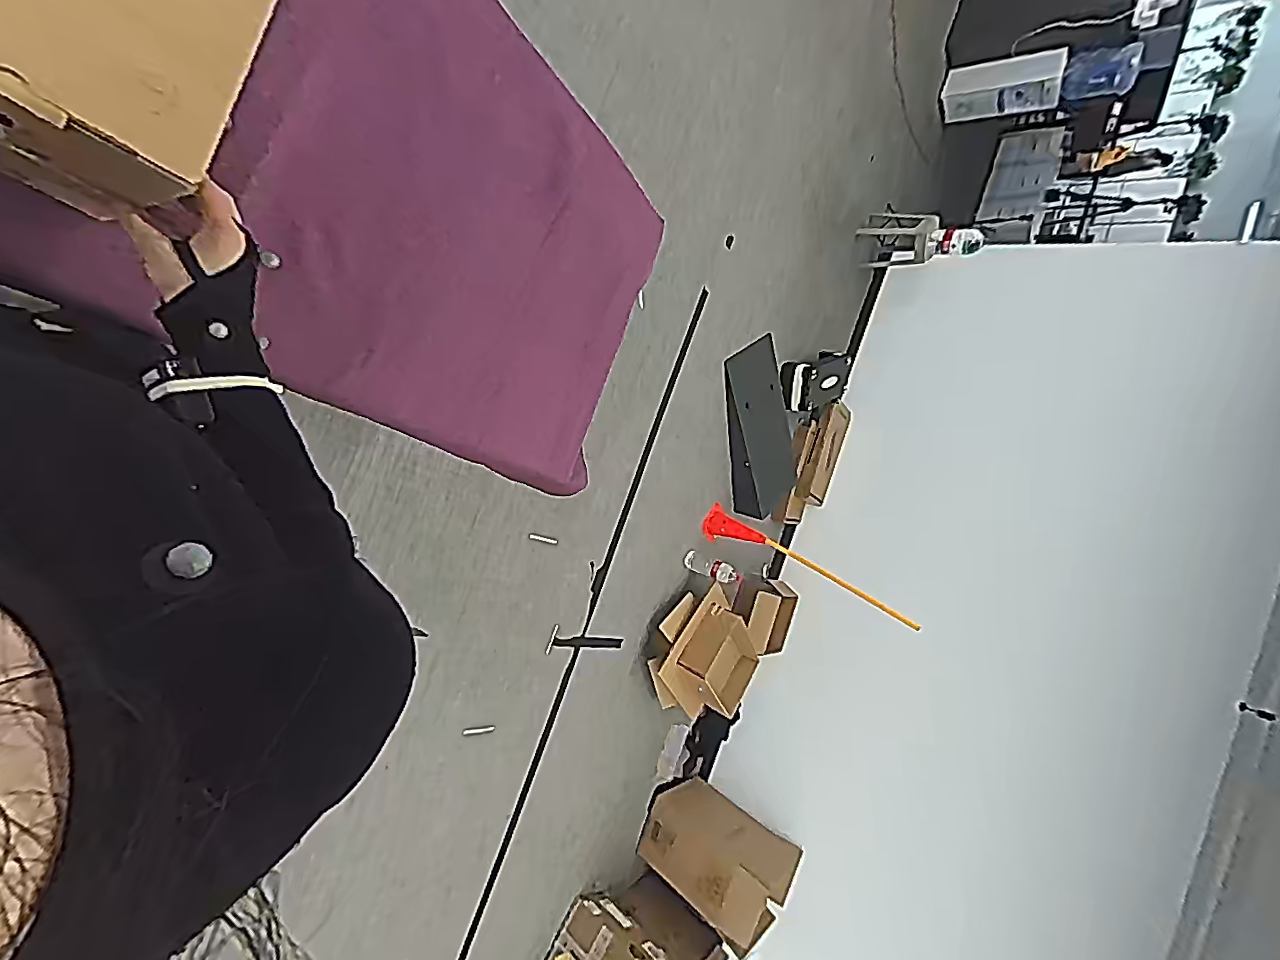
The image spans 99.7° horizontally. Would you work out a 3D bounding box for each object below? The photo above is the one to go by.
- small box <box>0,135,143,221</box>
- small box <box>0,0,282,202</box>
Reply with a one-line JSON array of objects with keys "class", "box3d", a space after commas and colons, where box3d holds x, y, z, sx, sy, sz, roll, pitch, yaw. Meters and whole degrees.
[{"class": "small box", "box3d": [-0.496, -0.339, 0.444, 0.168, 0.176, 0.179, 27, 81, -53]}, {"class": "small box", "box3d": [-0.369, -0.305, 0.344, 0.168, 0.176, 0.179, 25, 83, -53]}]
